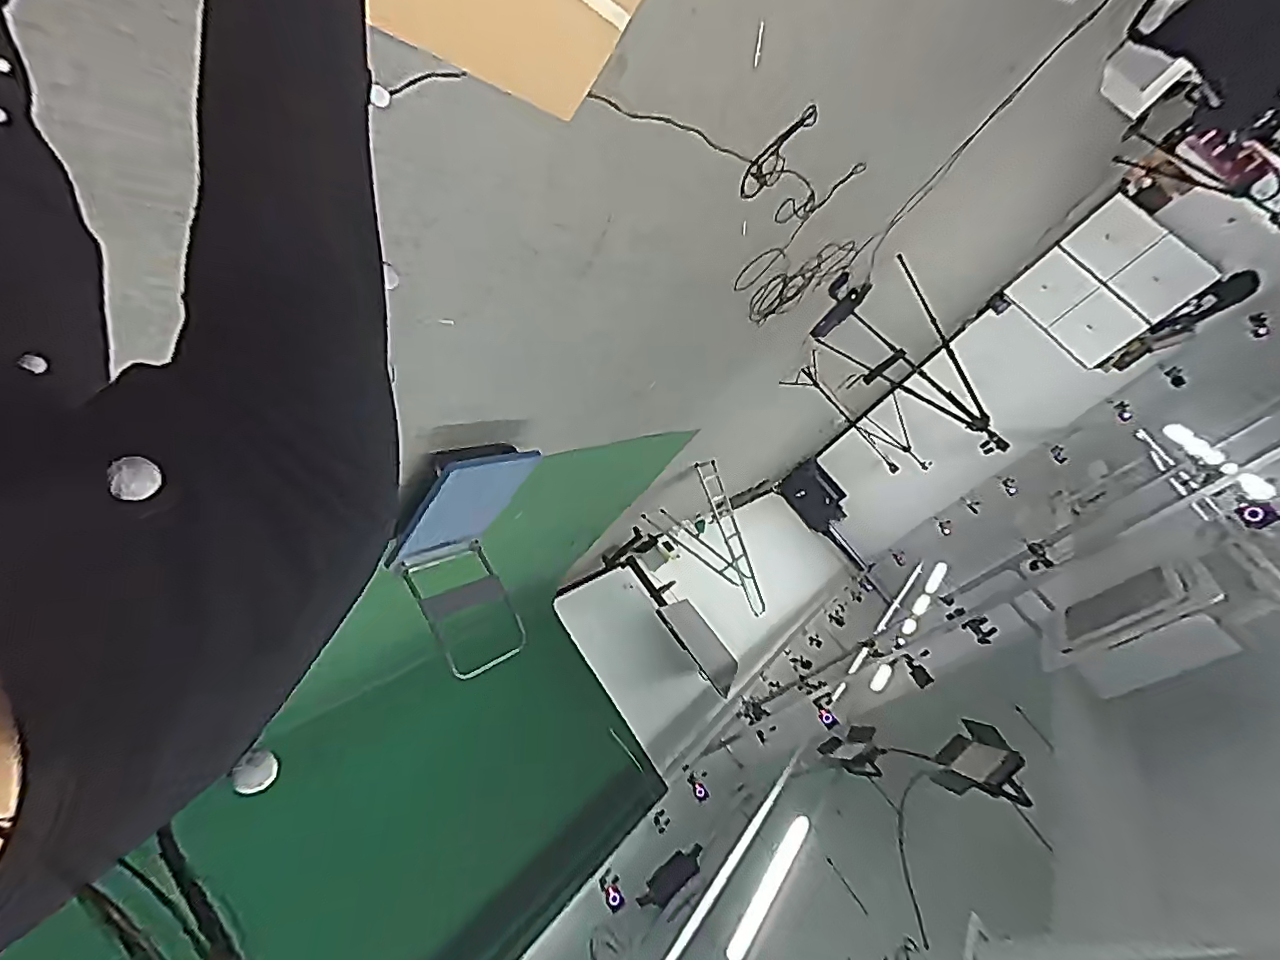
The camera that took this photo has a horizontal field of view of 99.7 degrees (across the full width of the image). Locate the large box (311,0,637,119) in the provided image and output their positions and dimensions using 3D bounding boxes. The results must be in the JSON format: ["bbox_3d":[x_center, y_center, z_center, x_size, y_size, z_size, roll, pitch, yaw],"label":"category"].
[{"bbox_3d":[-0.222,-0.738,0.646,0.408,0.320,0.320,-15,158,-51],"label":"large box"}]
